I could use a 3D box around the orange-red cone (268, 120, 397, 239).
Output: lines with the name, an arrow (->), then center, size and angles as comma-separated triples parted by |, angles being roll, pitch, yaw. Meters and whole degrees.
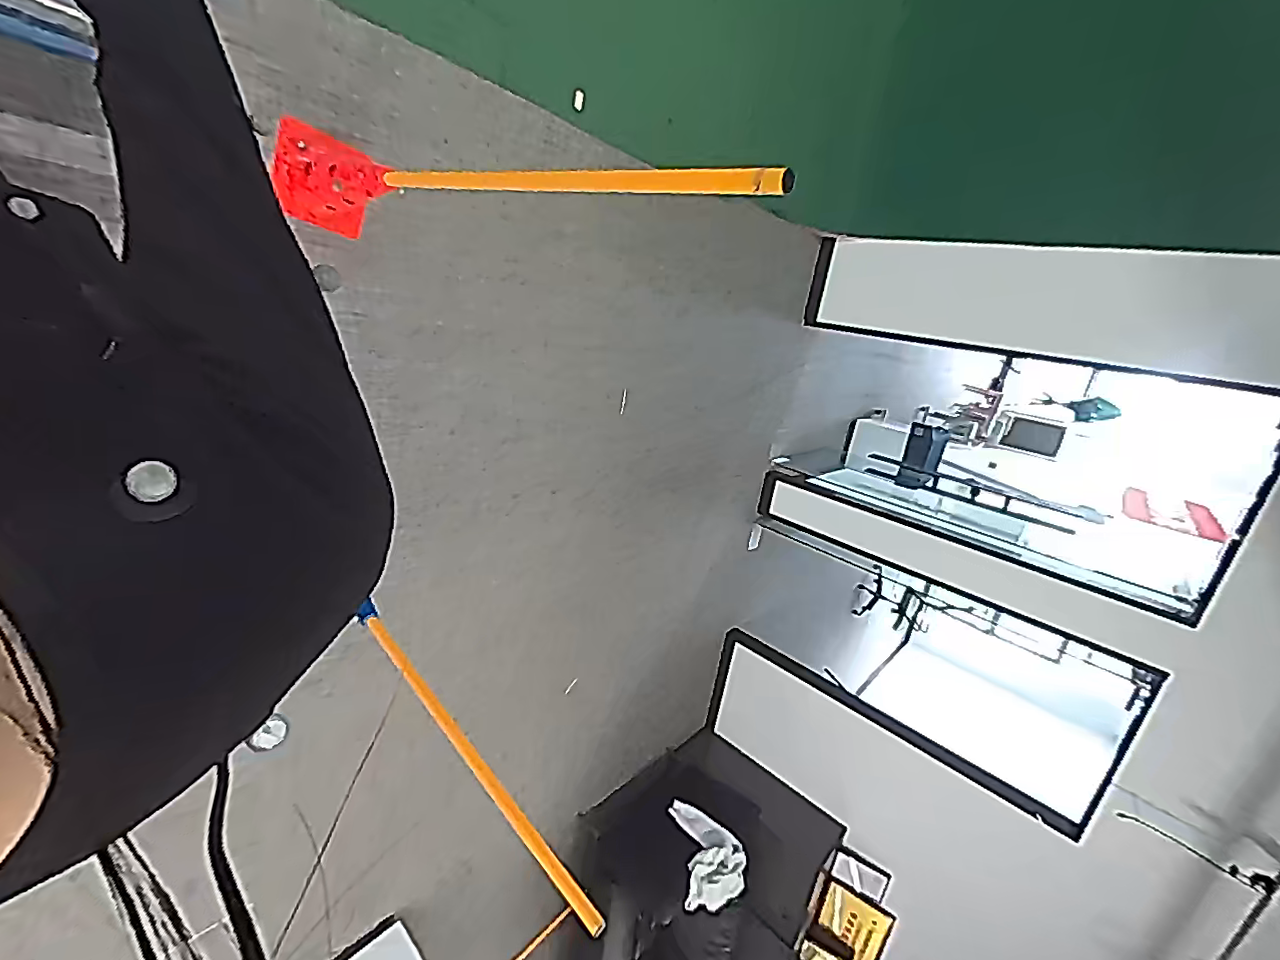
orange-red cone -> -0.614, -0.638, 1.152 | 0.198, 0.360, 0.199 | 6, 104, -51
